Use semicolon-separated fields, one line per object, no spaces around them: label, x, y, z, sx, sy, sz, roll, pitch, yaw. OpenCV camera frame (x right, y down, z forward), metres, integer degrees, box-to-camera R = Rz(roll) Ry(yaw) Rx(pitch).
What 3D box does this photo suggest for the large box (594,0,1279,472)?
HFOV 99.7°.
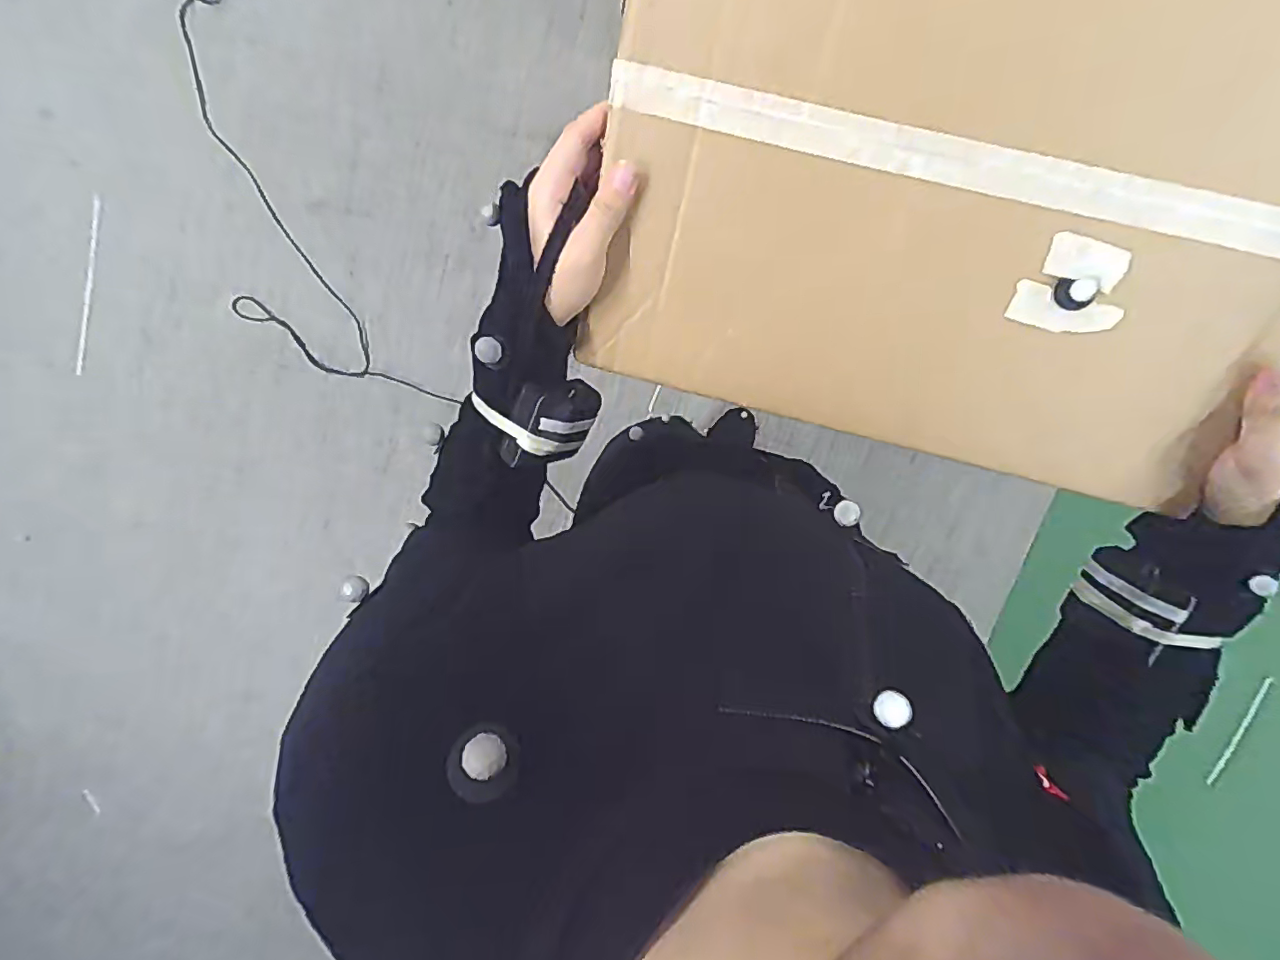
large box;0.206;-0.244;0.420;0.408;0.320;0.320;14;118;2
